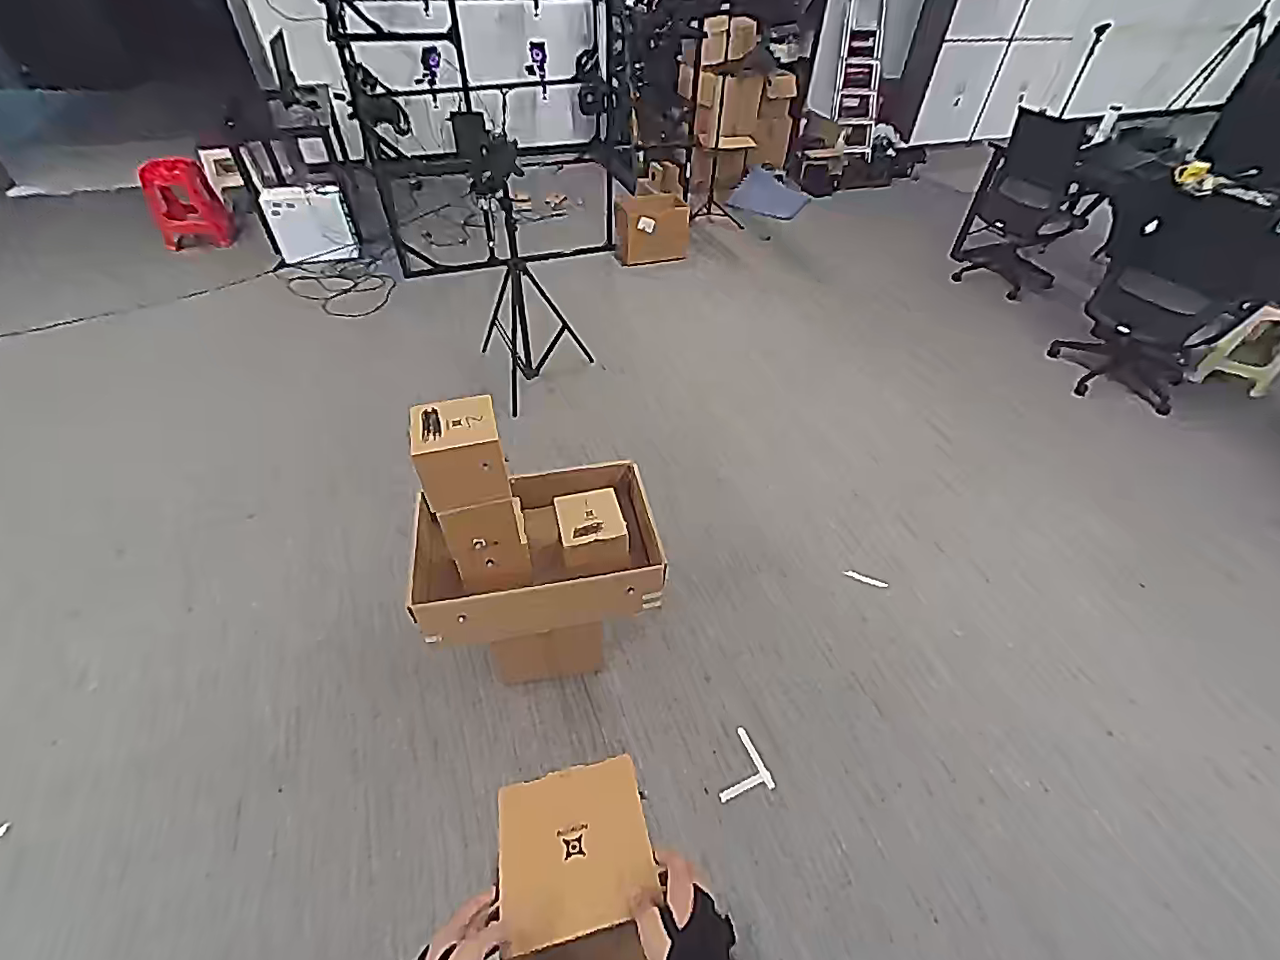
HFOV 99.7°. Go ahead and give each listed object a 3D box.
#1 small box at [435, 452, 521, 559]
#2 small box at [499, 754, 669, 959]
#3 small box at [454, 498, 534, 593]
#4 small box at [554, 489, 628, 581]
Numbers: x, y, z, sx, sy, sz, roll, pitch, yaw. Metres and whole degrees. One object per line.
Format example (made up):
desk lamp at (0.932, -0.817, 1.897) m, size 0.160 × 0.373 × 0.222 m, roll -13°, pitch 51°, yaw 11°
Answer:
small box at (-0.388, 0.060, 1.301) m, size 0.168 × 0.176 × 0.179 m, roll -13°, pitch 46°, yaw -13°
small box at (-0.067, 0.469, 0.635) m, size 0.168 × 0.176 × 0.179 m, roll -10°, pitch 29°, yaw -10°
small box at (-0.383, 0.175, 1.418) m, size 0.179 × 0.176 × 0.168 m, roll -10°, pitch 47°, yaw -12°
small box at (-0.130, 0.154, 1.448) m, size 0.168 × 0.176 × 0.179 m, roll -10°, pitch 46°, yaw -12°
